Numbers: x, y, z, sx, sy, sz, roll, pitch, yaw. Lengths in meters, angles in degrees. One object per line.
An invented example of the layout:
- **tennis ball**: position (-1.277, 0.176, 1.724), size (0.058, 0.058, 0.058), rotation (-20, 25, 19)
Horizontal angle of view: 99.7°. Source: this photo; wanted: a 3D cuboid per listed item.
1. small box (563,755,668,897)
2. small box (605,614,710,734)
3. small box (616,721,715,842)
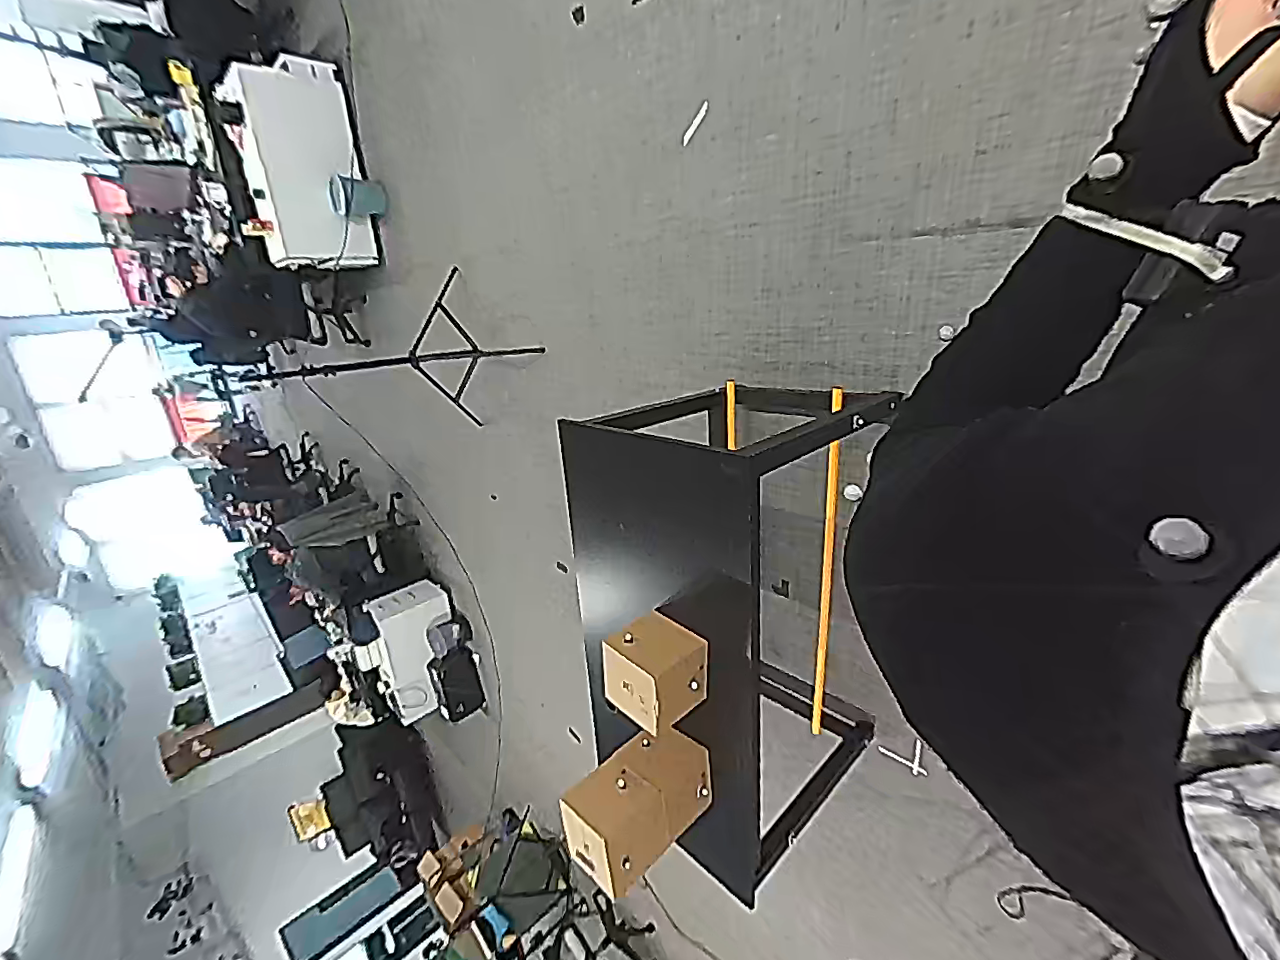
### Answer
- **small box**: position (-0.051, 0.786, 1.246), size (0.168, 0.176, 0.179), rotation (10, 113, 47)
- **small box**: position (0.039, 0.433, 1.246), size (0.179, 0.176, 0.168), rotation (20, 121, 43)
- **small box**: position (0.065, 0.738, 1.351), size (0.179, 0.176, 0.168), rotation (10, 114, 46)
